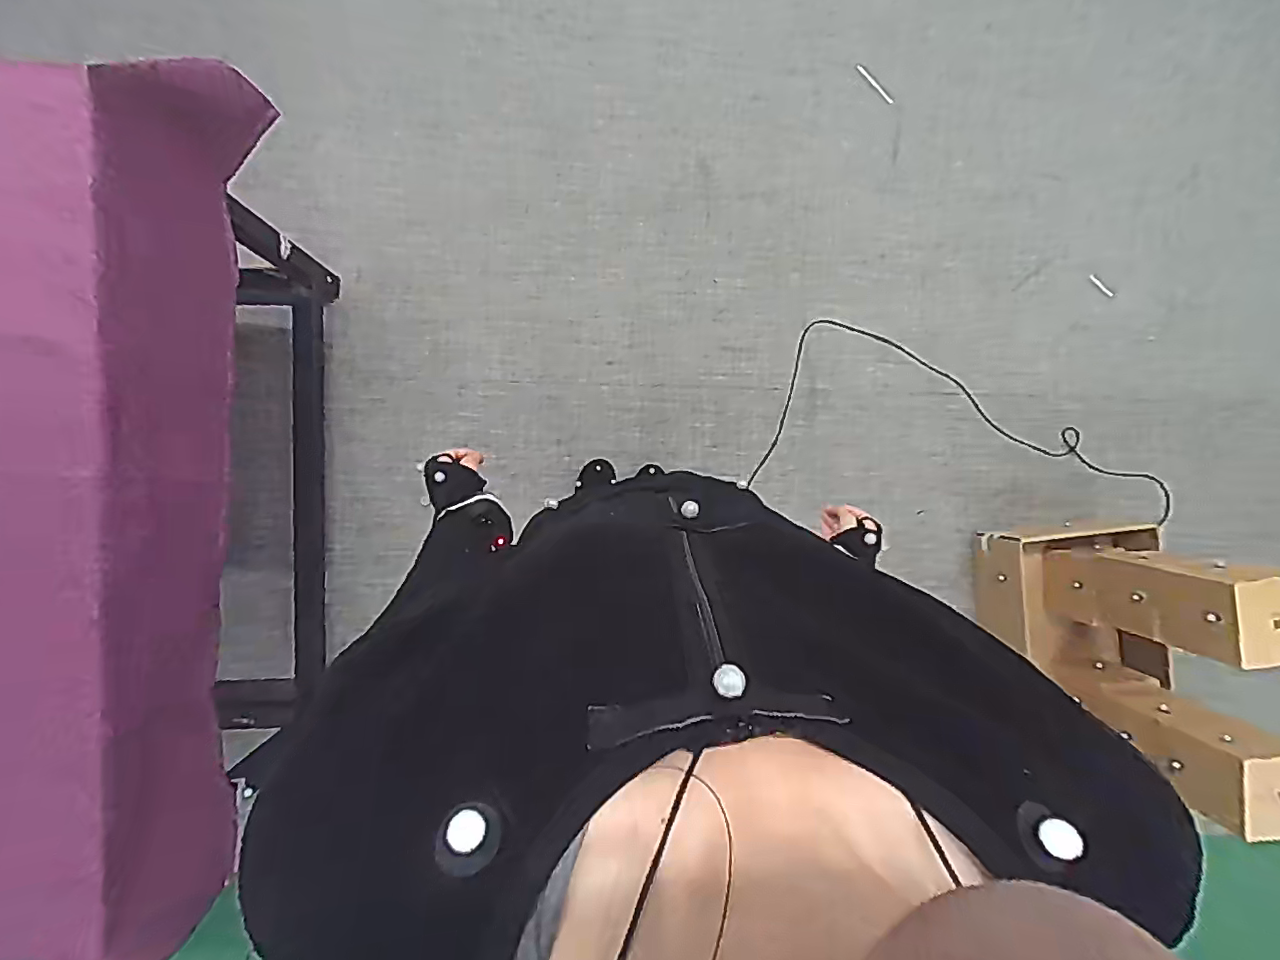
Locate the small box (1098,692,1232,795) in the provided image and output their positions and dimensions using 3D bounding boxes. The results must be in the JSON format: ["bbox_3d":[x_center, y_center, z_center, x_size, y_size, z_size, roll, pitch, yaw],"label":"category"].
[{"bbox_3d":[1.251,0.627,1.301,0.179,0.176,0.168,-2,91,-4],"label":"small box"}]

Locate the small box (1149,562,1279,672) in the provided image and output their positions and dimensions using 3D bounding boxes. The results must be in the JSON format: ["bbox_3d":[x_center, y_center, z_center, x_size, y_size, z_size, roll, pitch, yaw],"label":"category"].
[{"bbox_3d":[1.232,0.280,1.137,0.168,0.176,0.179,-7,90,-1],"label":"small box"}]

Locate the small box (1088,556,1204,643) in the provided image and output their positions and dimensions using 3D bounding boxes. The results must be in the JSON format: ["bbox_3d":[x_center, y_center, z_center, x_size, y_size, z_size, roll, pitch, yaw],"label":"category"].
[{"bbox_3d":[1.225,0.279,1.299,0.168,0.176,0.179,-2,91,-2],"label":"small box"}]

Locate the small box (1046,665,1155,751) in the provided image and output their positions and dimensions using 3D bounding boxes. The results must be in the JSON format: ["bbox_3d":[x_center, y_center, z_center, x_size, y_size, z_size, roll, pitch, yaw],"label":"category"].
[{"bbox_3d":[1.242,0.611,1.466,0.168,0.176,0.179,-2,90,-3],"label":"small box"}]
